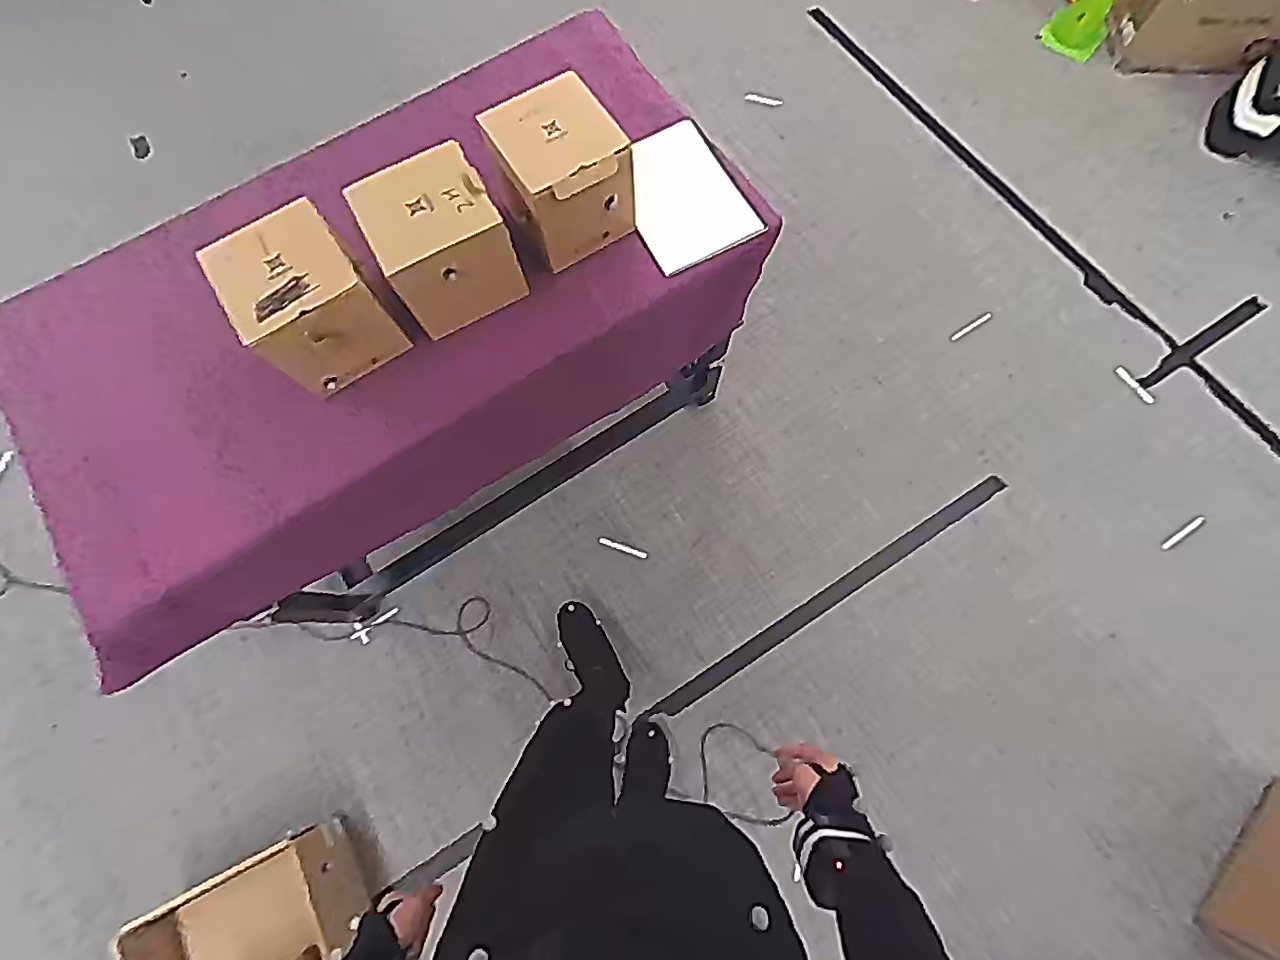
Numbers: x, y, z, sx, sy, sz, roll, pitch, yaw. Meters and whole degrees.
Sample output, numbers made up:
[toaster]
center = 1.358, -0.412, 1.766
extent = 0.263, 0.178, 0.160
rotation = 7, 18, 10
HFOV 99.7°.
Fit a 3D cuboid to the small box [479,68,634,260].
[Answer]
[small box]
center = -0.118, -0.477, 0.845
extent = 0.168, 0.176, 0.179
rotation = -31, 75, -8
